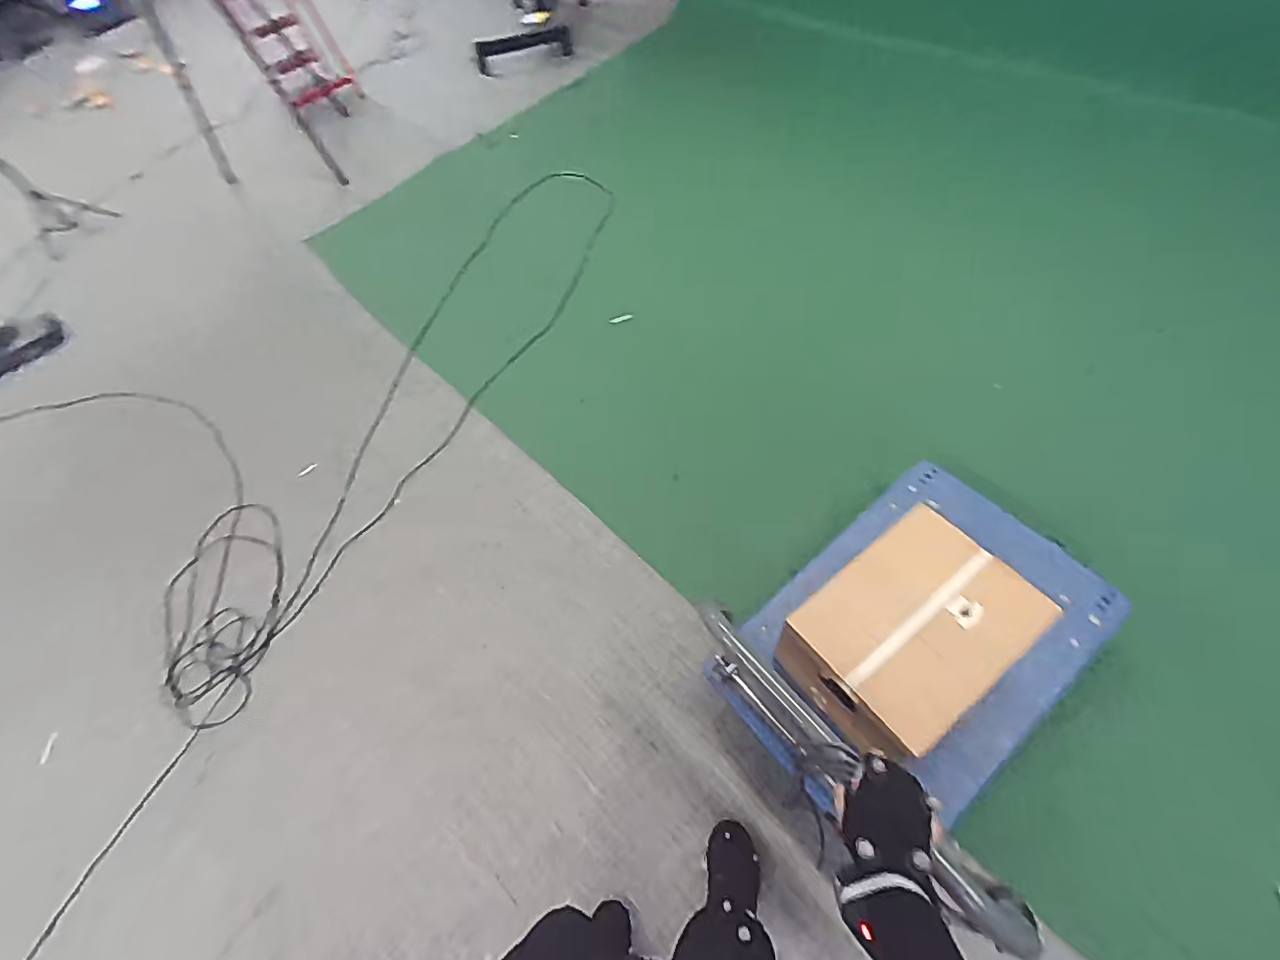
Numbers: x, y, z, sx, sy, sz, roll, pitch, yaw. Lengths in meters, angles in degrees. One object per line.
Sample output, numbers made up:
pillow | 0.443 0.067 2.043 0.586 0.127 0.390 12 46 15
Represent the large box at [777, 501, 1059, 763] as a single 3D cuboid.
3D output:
large box | 0.554 0.330 1.155 0.408 0.320 0.320 -35 62 -13
